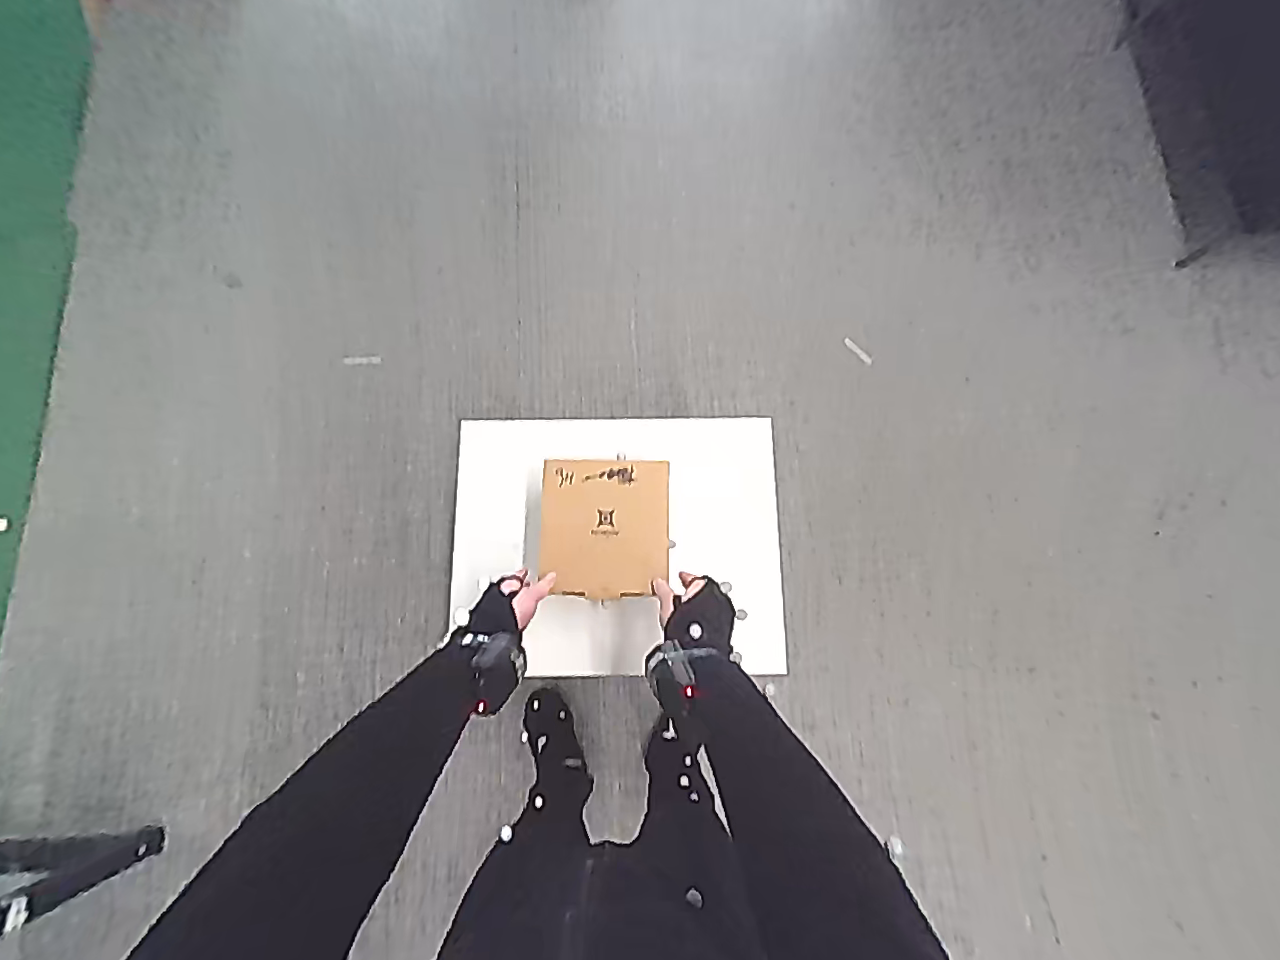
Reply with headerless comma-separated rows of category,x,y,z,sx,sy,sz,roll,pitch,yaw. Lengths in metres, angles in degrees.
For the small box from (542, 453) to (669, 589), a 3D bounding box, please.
small box,-0.042,0.066,0.774,0.168,0.176,0.179,-1,77,0
